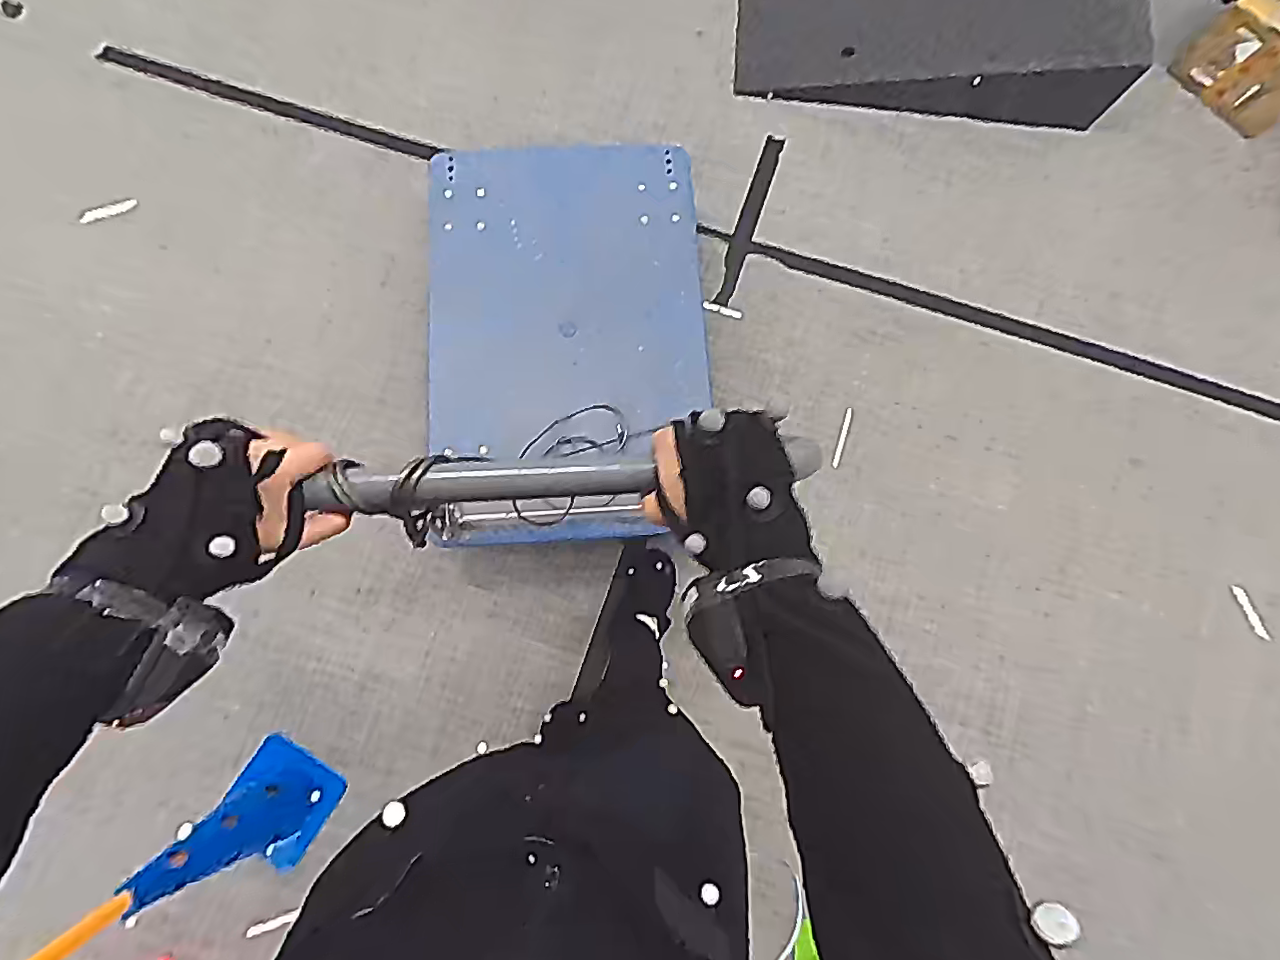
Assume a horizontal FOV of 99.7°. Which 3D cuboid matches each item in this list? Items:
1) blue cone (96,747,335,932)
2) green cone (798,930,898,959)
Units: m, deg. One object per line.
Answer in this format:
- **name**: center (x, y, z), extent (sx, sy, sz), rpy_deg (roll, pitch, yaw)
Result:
- **blue cone**: center (-0.726, 0.625, 0.922), extent (0.193, 0.380, 0.192), rpy_deg (33, 80, 5)
- **green cone**: center (0.407, 0.959, 0.880), extent (0.200, 0.368, 0.202), rpy_deg (5, 80, -1)
